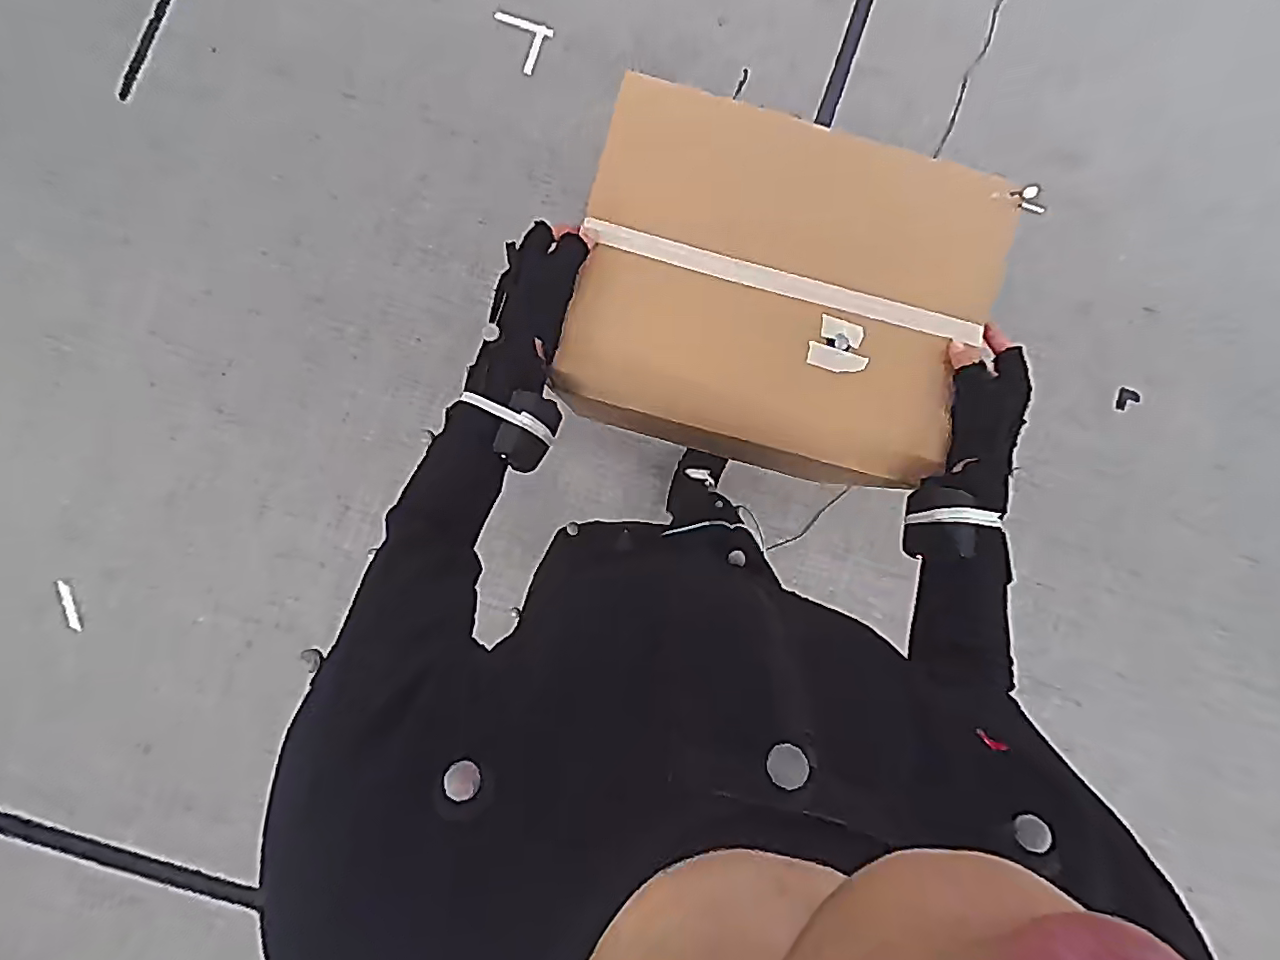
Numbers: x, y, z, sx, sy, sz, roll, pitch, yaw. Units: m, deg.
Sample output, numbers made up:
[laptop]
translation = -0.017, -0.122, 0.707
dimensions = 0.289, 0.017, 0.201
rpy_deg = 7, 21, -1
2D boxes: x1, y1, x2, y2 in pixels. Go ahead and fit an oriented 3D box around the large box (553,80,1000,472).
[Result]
[large box]
translation = 0.133, -0.207, 0.693
dimensions = 0.408, 0.320, 0.320
rpy_deg = 15, 92, -2
